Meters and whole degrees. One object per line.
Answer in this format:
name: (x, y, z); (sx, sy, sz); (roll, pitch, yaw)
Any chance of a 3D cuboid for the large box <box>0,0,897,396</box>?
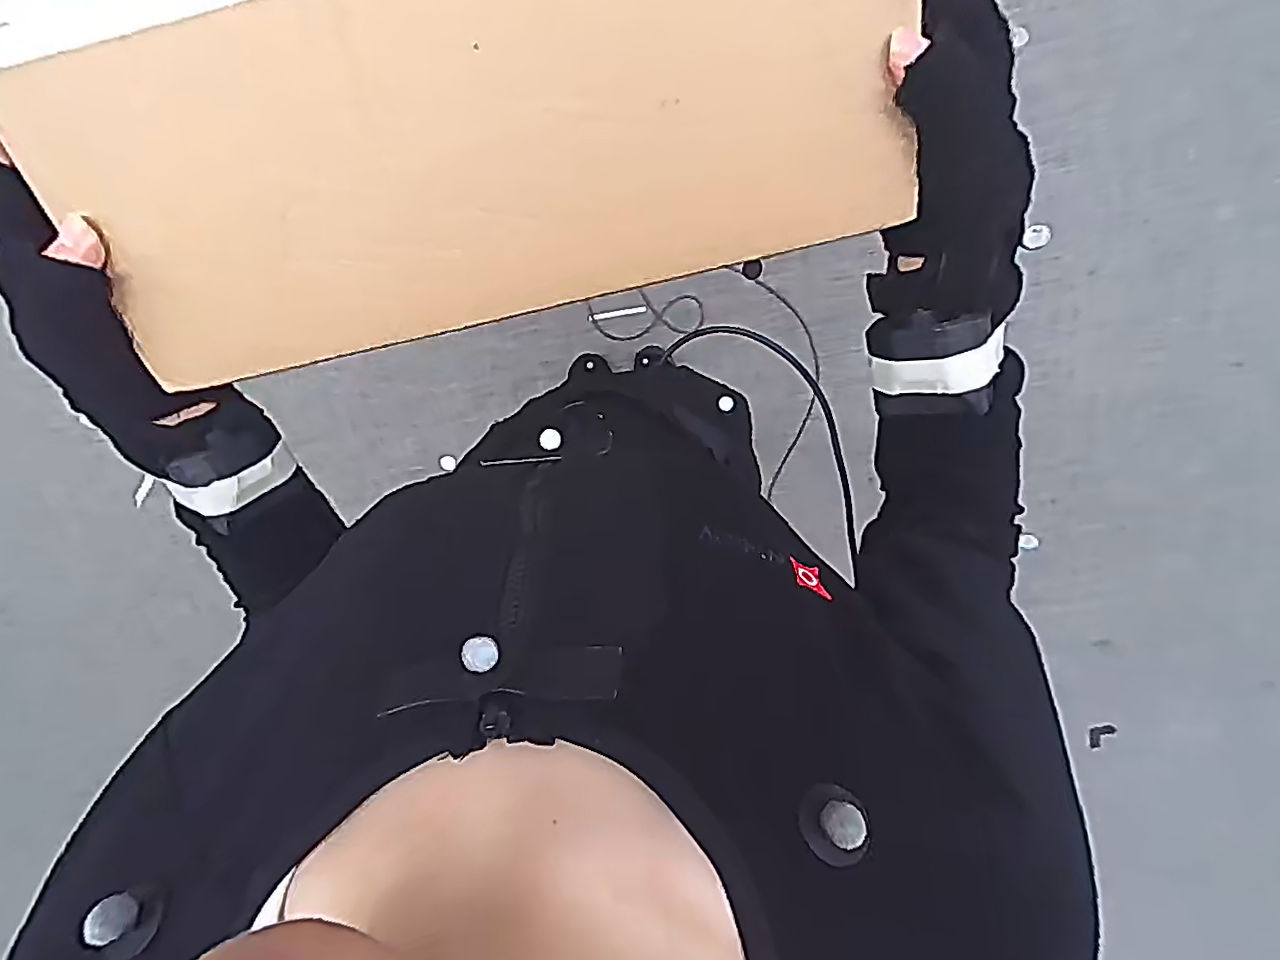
large box: (-0.097, -0.288, 0.360); (0.408, 0.320, 0.320); (-12, 115, 5)
